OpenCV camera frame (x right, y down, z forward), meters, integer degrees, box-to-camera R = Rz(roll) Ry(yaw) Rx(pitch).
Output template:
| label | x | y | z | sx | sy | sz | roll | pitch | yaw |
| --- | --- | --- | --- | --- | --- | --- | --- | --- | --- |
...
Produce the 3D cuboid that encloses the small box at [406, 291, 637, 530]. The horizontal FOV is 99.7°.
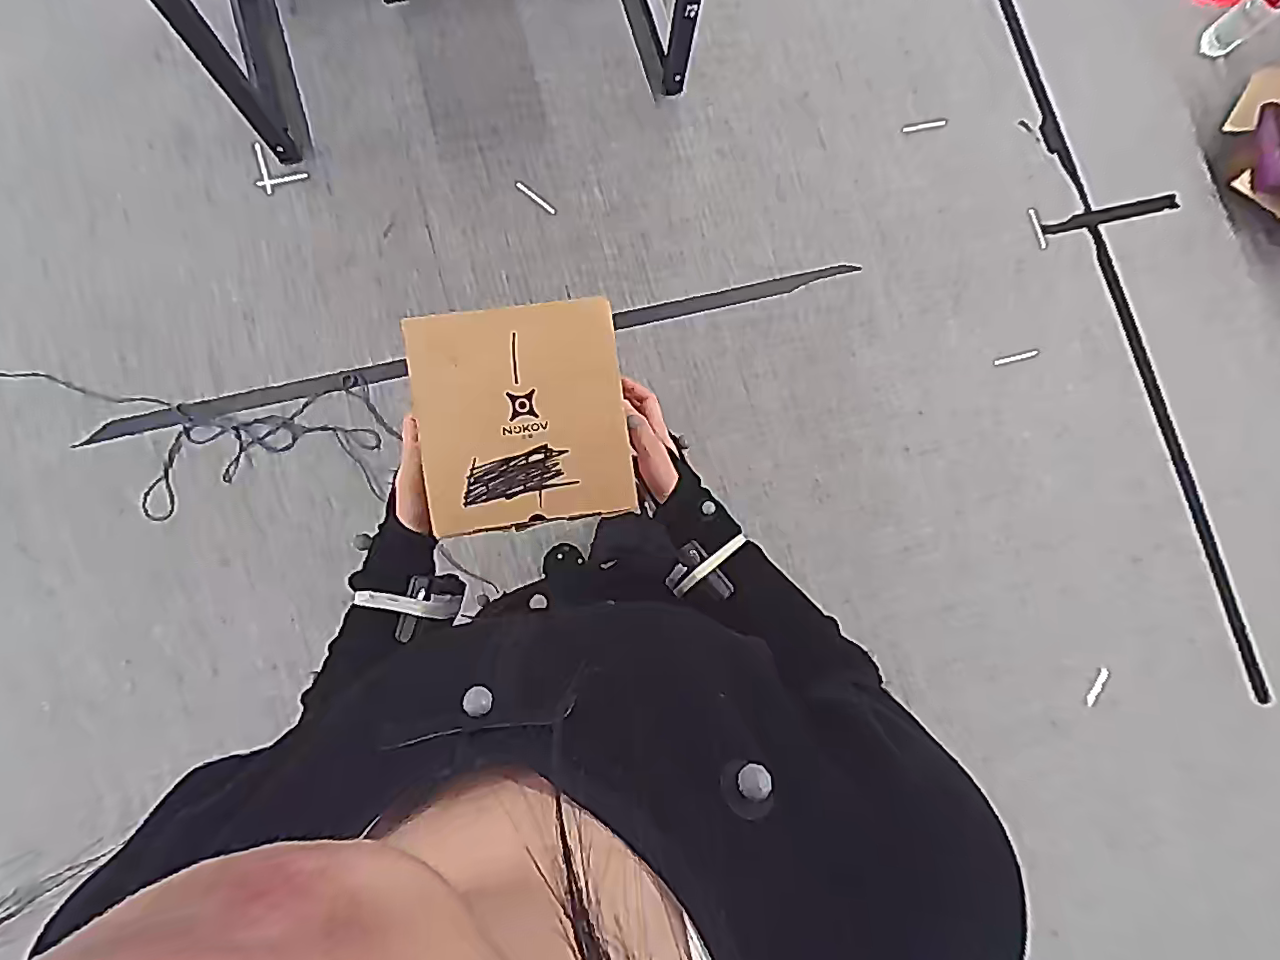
| label | x | y | z | sx | sy | sz | roll | pitch | yaw |
| --- | --- | --- | --- | --- | --- | --- | --- | --- | --- |
| small box | -0.097 | -0.057 | 0.506 | 0.168 | 0.176 | 0.179 | -8 | 91 | -5 |
